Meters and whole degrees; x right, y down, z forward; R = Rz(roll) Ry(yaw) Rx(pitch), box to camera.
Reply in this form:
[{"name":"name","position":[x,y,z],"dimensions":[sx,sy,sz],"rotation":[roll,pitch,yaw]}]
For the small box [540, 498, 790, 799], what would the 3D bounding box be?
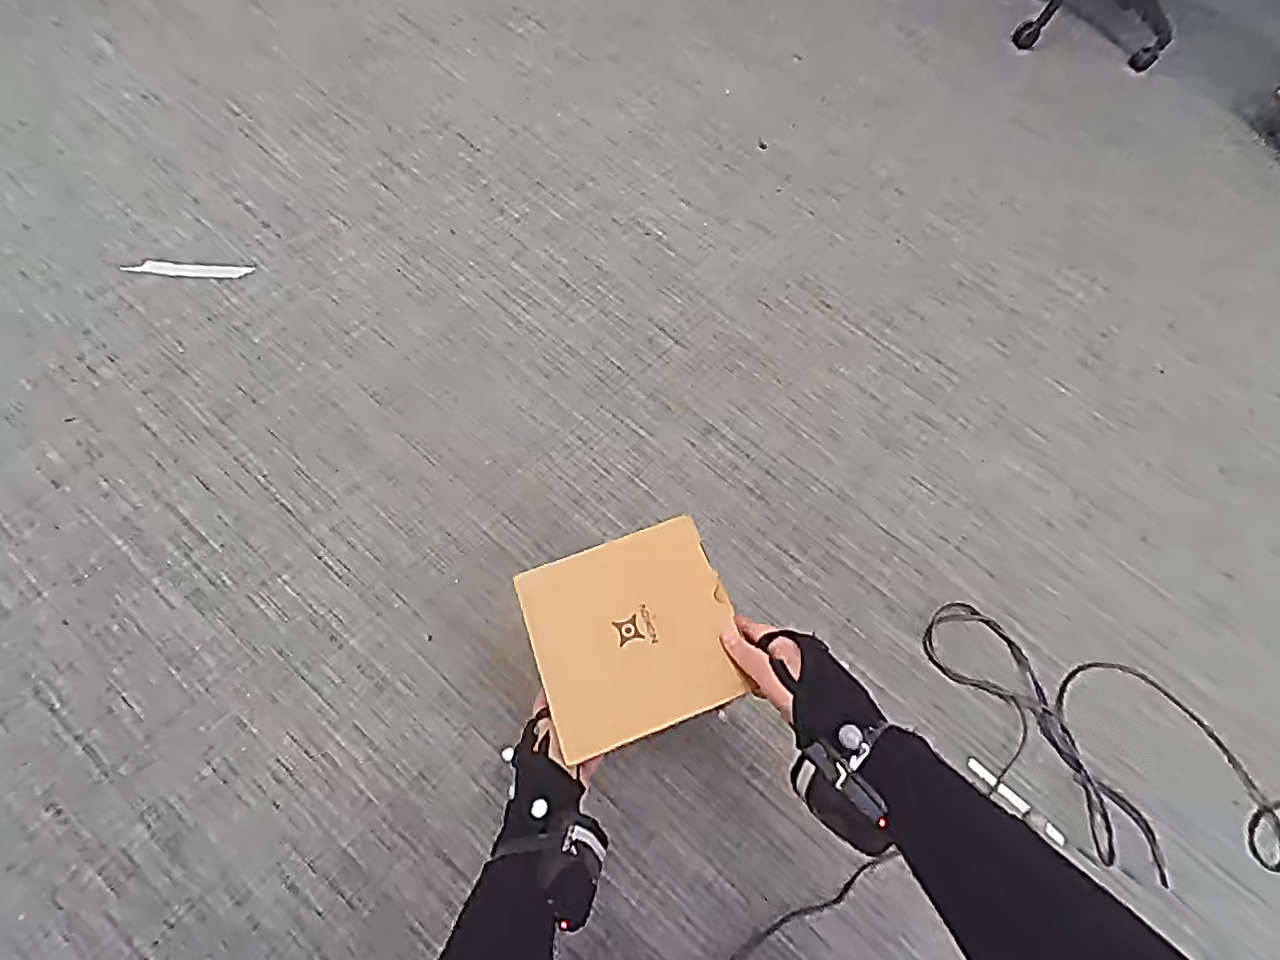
[{"name":"small box","position":[0.014,0.145,0.498],"dimensions":[0.168,0.176,0.179],"rotation":[-11,47,-26]}]
